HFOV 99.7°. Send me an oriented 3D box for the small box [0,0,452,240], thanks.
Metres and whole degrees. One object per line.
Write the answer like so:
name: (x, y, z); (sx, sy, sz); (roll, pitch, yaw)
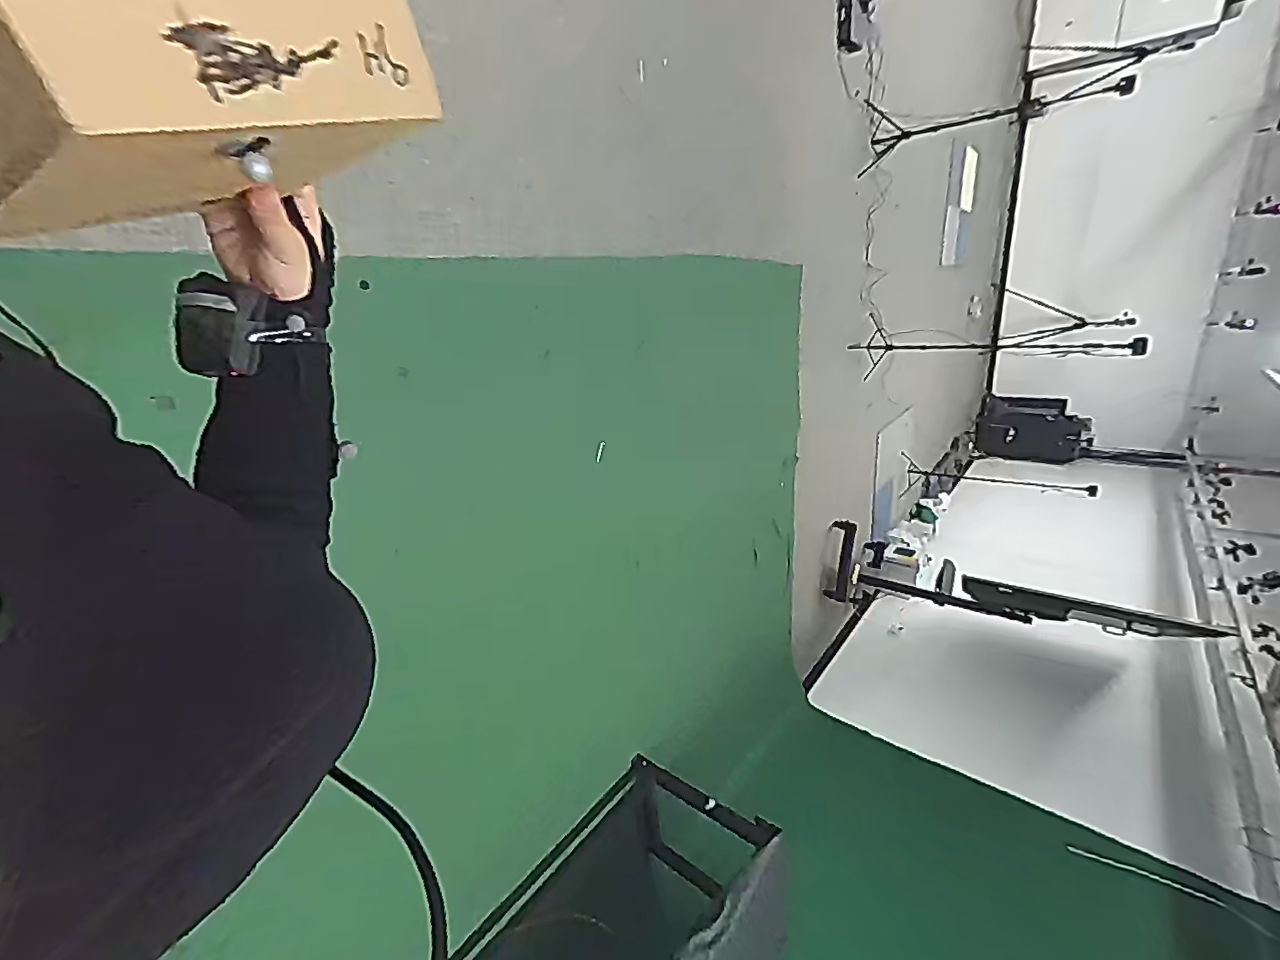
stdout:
small box: (-0.231, -0.232, 0.247); (0.168, 0.176, 0.179); (-48, 130, -46)
